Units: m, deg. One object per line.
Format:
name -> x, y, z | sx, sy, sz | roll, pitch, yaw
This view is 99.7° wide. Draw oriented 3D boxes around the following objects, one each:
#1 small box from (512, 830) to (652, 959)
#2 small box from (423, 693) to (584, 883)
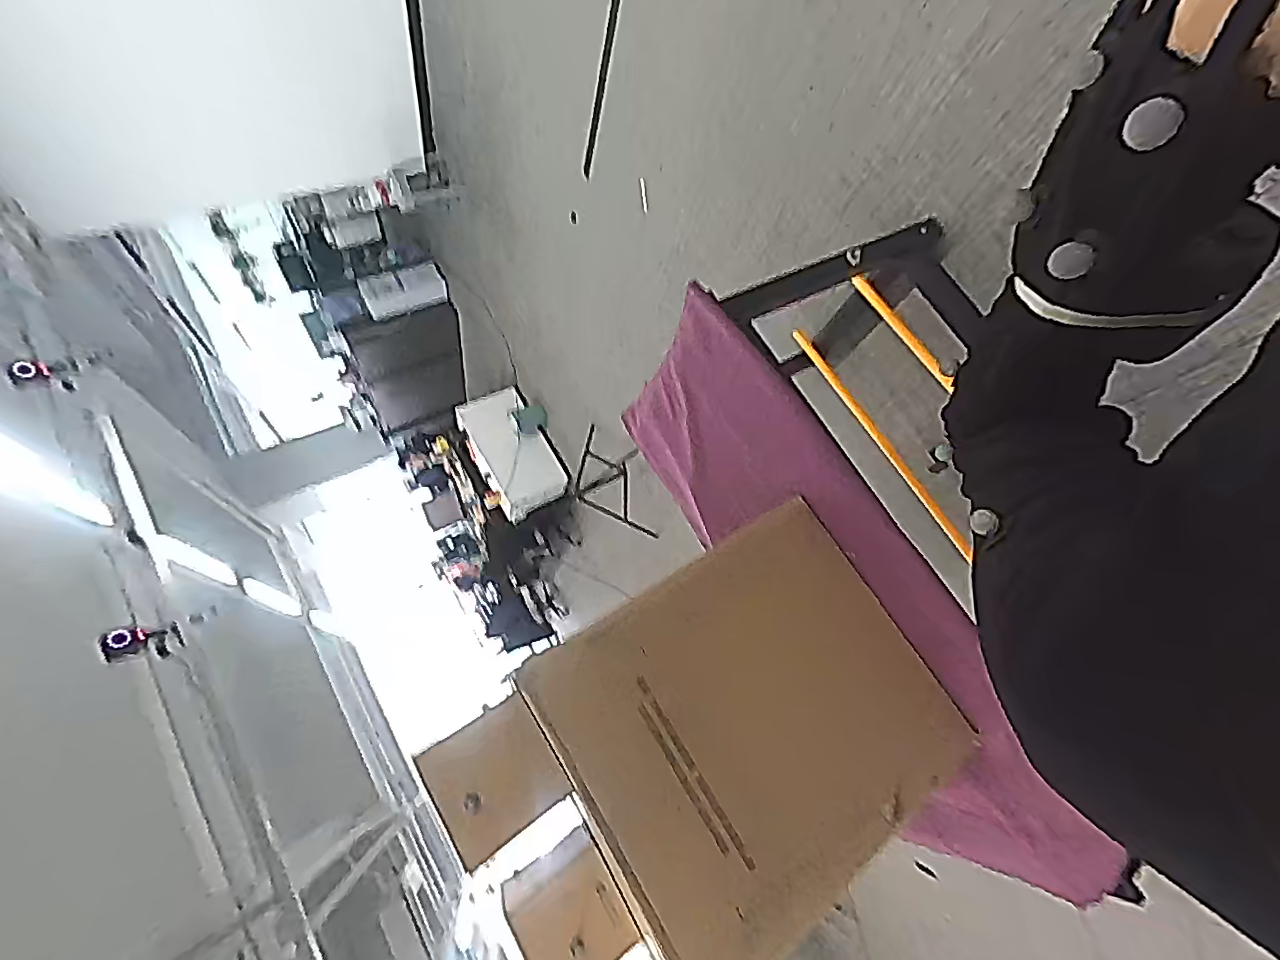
small box -> -0.099, 0.733, 0.911 | 0.168, 0.176, 0.179 | 59, 157, 11
small box -> -0.202, 0.455, 0.827 | 0.179, 0.176, 0.168 | 55, 156, 16
